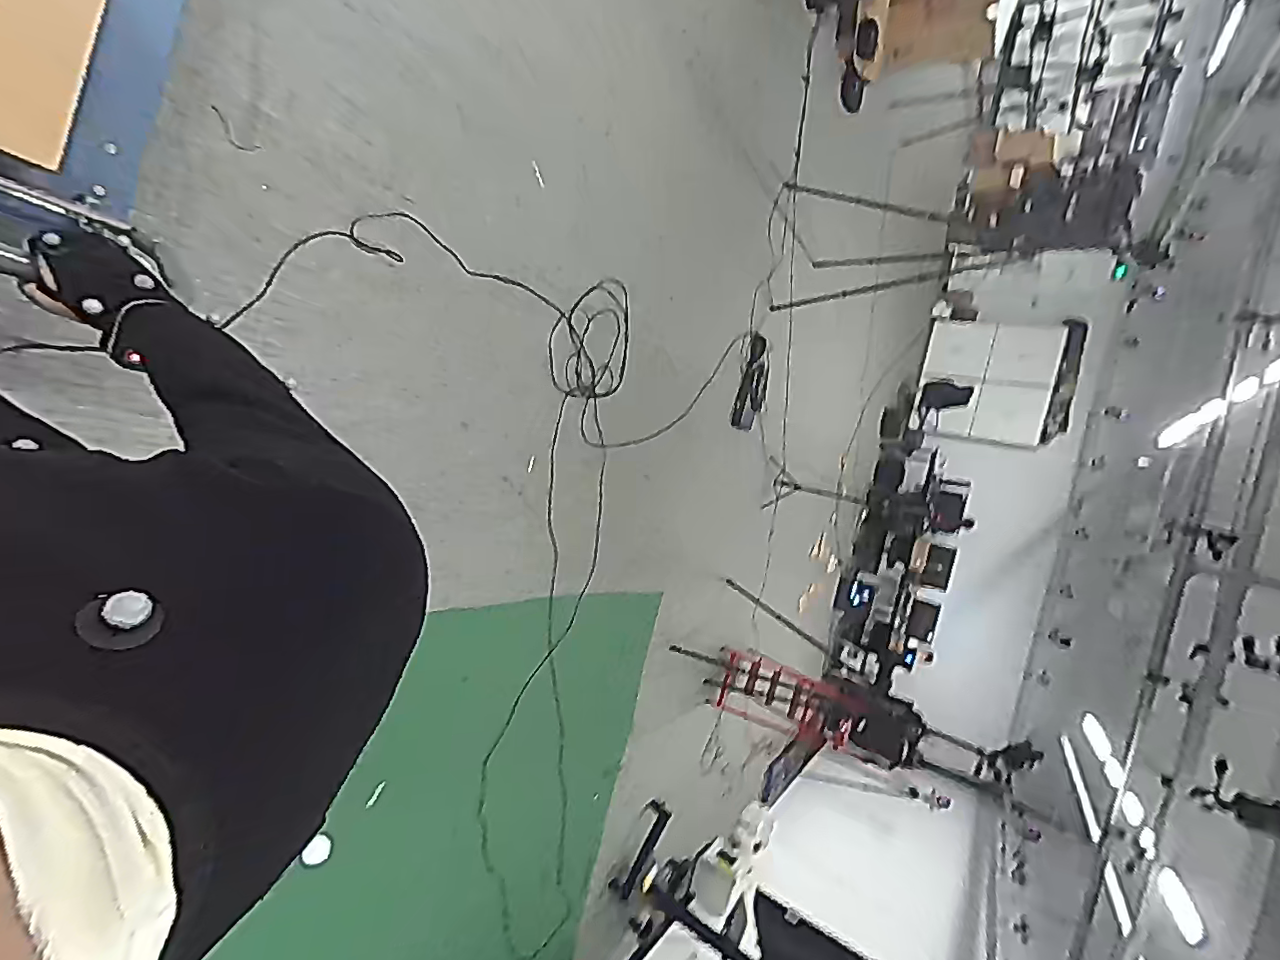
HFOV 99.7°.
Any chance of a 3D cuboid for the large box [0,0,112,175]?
[{"bbox_3d":[-0.951,-0.684,0.715,0.320,0.320,0.408,14,97,-56],"label":"large box"}]
